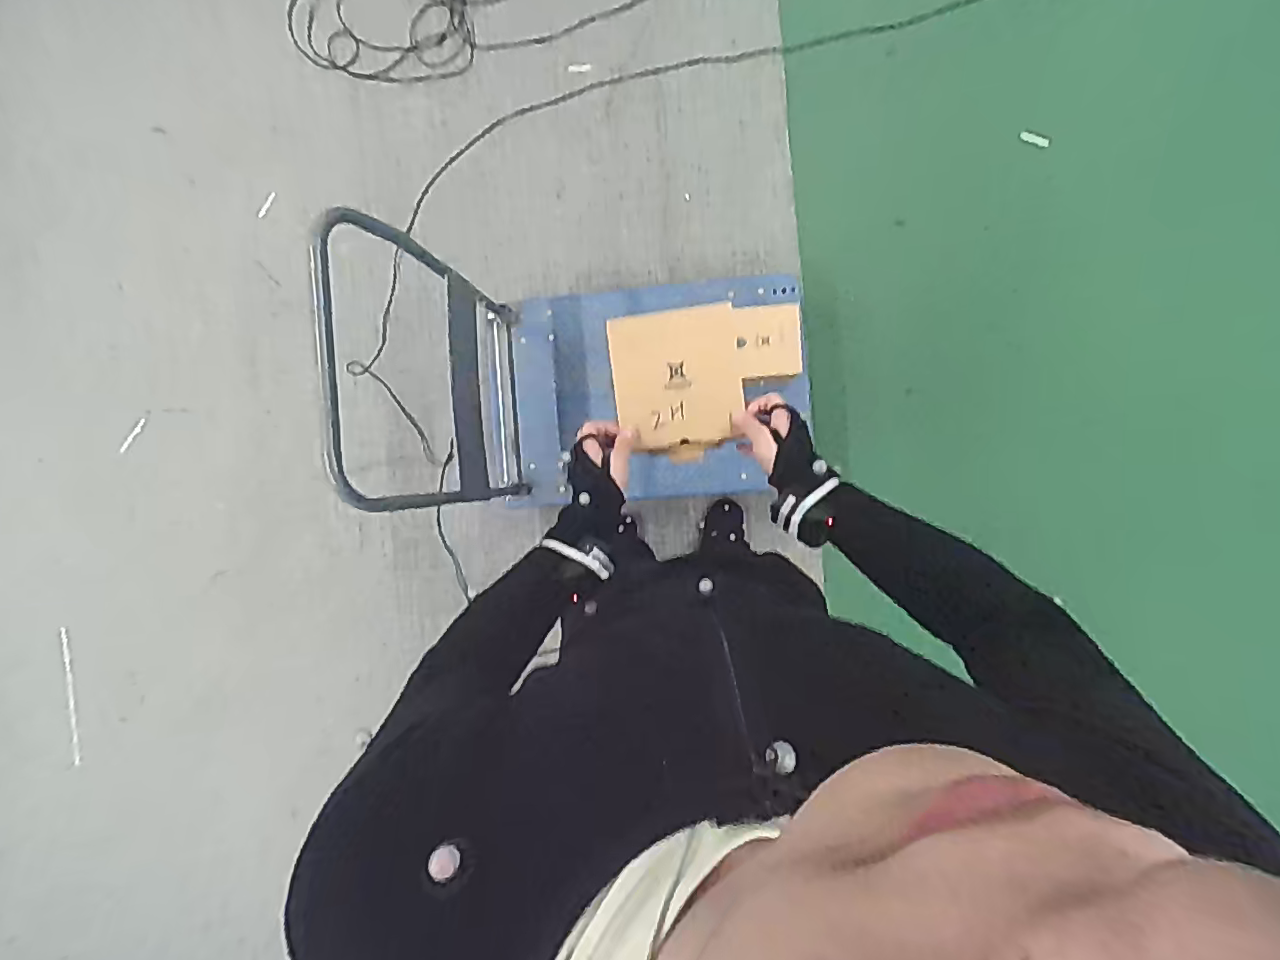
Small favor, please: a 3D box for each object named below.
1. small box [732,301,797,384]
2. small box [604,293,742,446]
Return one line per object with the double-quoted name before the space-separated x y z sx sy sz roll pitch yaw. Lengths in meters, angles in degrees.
"small box" 0.288 -0.337 1.352 0.179 0.176 0.168 -3 91 5
"small box" 0.046 -0.144 0.764 0.168 0.176 0.179 -6 92 5
